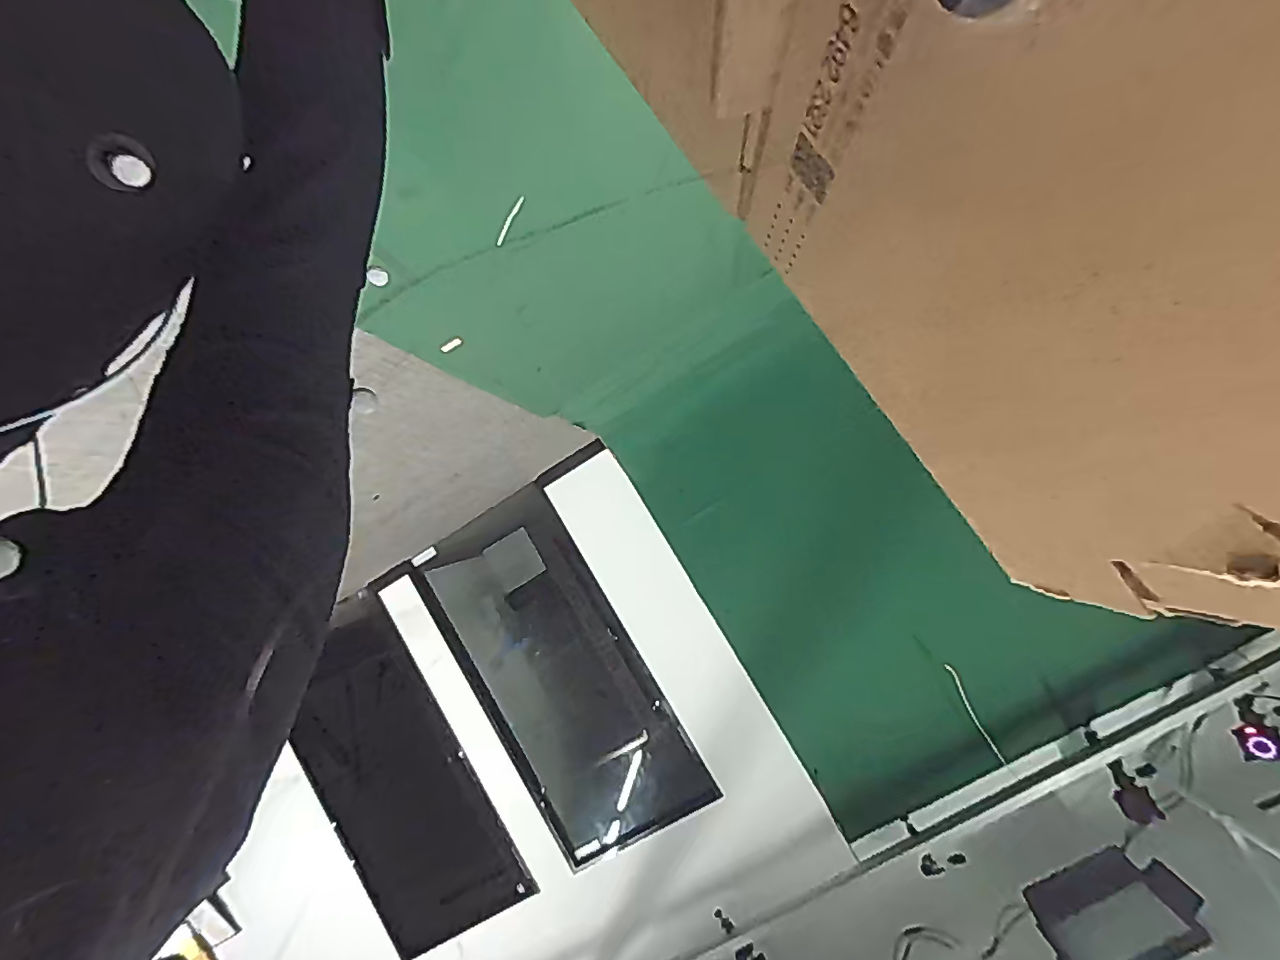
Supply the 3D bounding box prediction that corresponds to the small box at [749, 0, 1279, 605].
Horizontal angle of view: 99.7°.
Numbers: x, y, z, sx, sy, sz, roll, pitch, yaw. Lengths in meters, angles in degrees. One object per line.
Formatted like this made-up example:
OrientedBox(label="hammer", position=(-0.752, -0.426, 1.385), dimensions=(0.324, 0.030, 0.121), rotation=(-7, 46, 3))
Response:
OrientedBox(label="small box", position=(0.145, -0.090, 0.116), dimensions=(0.179, 0.176, 0.168), rotation=(-36, 175, 2))
